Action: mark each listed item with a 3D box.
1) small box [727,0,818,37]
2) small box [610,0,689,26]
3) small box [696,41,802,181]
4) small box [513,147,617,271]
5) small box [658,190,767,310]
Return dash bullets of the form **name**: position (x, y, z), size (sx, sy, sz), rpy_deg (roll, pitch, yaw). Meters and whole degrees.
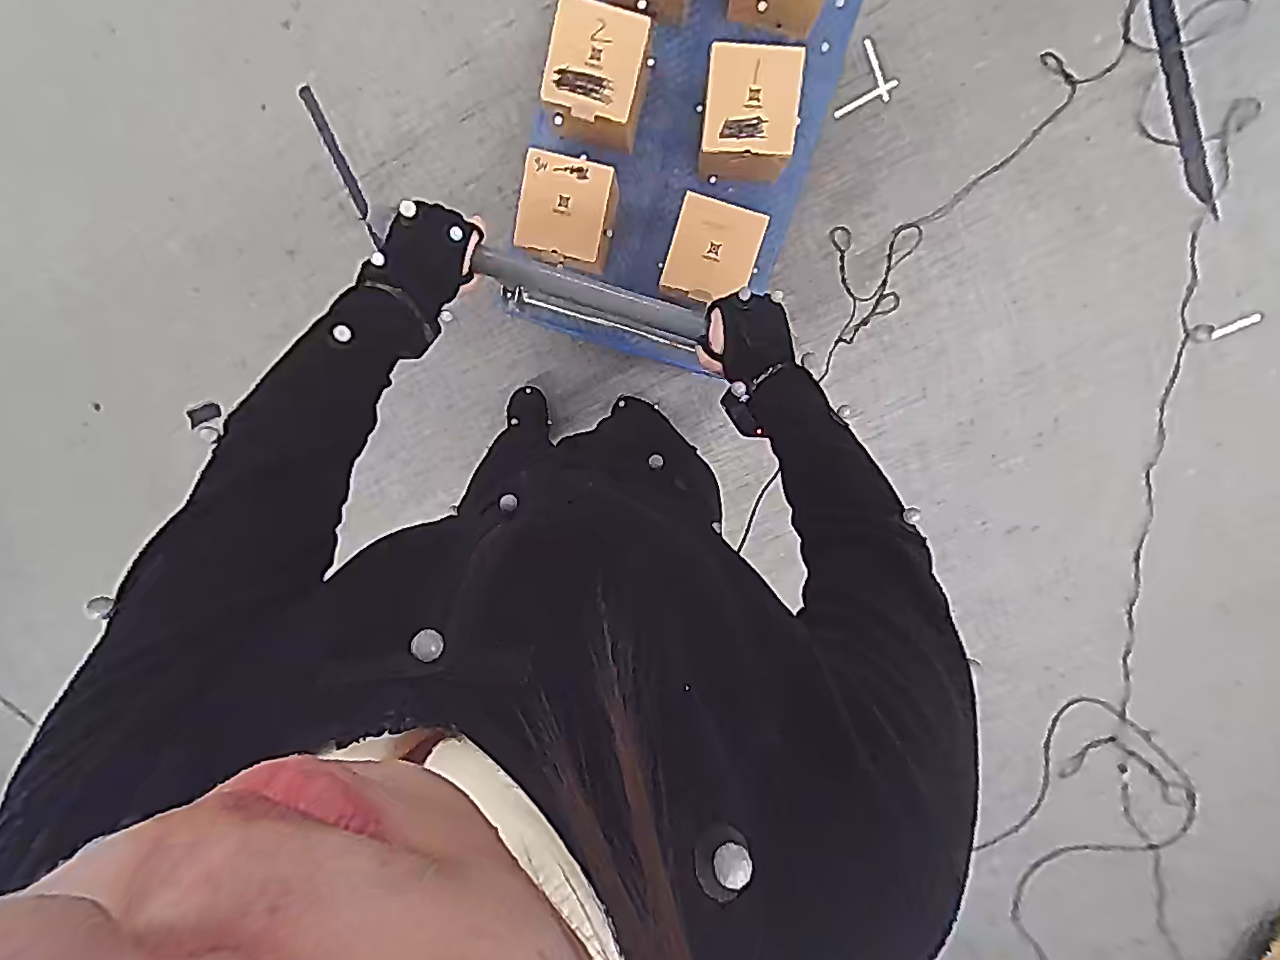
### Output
- **small box**: position (0.262, -0.961, 0.984), size (0.168, 0.176, 0.179), rpy_deg (14, 104, -1)
- **small box**: position (0.029, -0.991, 0.982), size (0.168, 0.176, 0.179), rpy_deg (18, 105, -2)
- **small box**: position (0.202, -0.702, 1.050), size (0.168, 0.176, 0.179), rpy_deg (5, 103, 1)
- **small box**: position (-0.146, -0.539, 1.102), size (0.168, 0.176, 0.179), rpy_deg (13, 104, -2)
- **small box**: position (0.141, -0.460, 1.113), size (0.168, 0.176, 0.179), rpy_deg (17, 103, -3)
